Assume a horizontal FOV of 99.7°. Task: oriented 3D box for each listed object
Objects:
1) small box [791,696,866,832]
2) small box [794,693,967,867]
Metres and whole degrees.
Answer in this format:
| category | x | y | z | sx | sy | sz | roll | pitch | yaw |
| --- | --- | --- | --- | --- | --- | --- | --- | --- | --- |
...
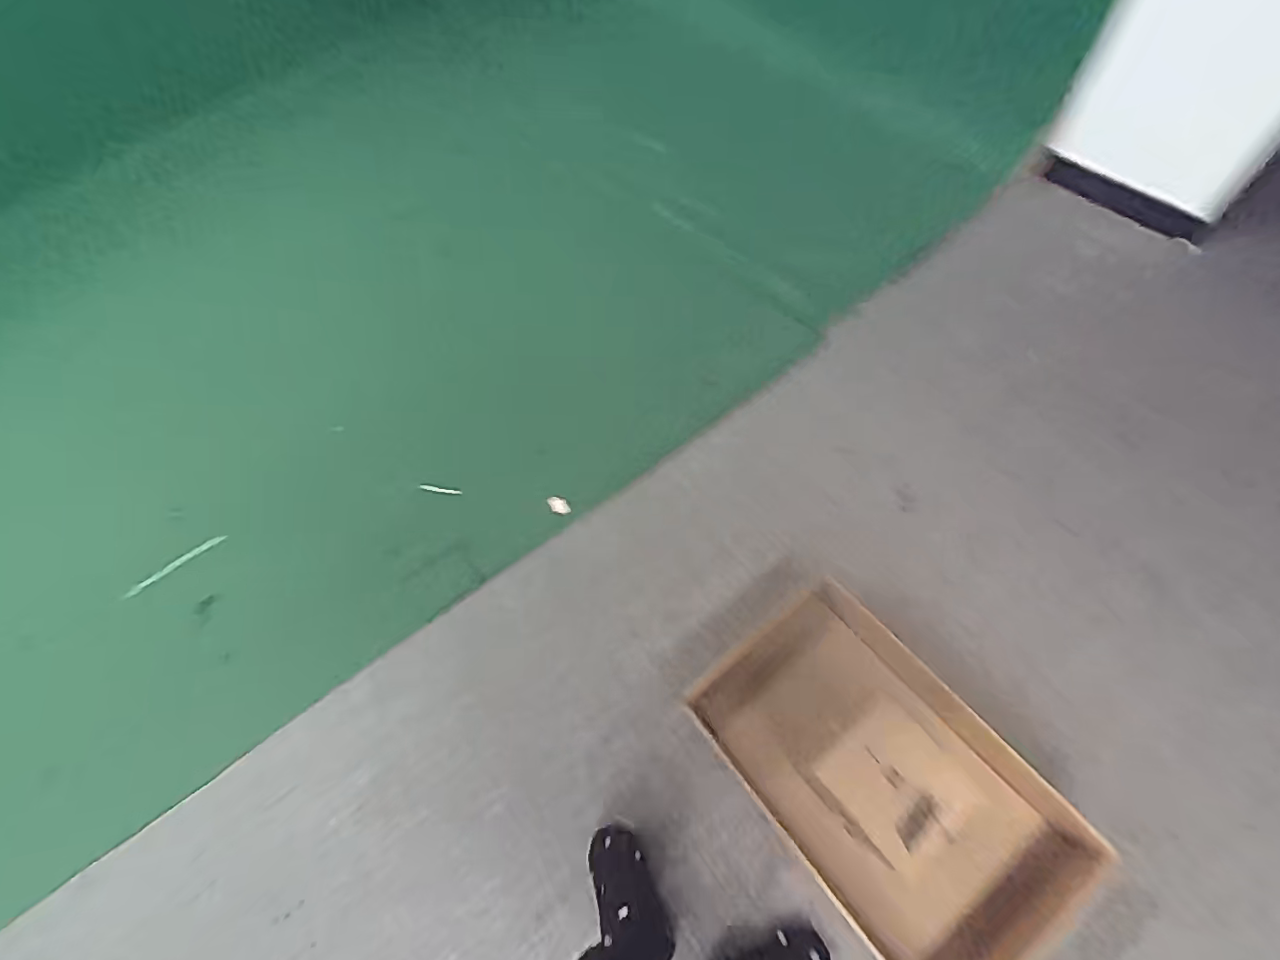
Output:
| category | x | y | z | sx | sy | sz | roll | pitch | yaw |
| --- | --- | --- | --- | --- | --- | --- | --- | --- | --- |
| small box | 0.400 | 0.534 | 1.010 | 0.179 | 0.176 | 0.168 | -37 | 64 | -10 |
| small box | 0.373 | 0.474 | 0.878 | 0.168 | 0.176 | 0.179 | -36 | 63 | -9 |
